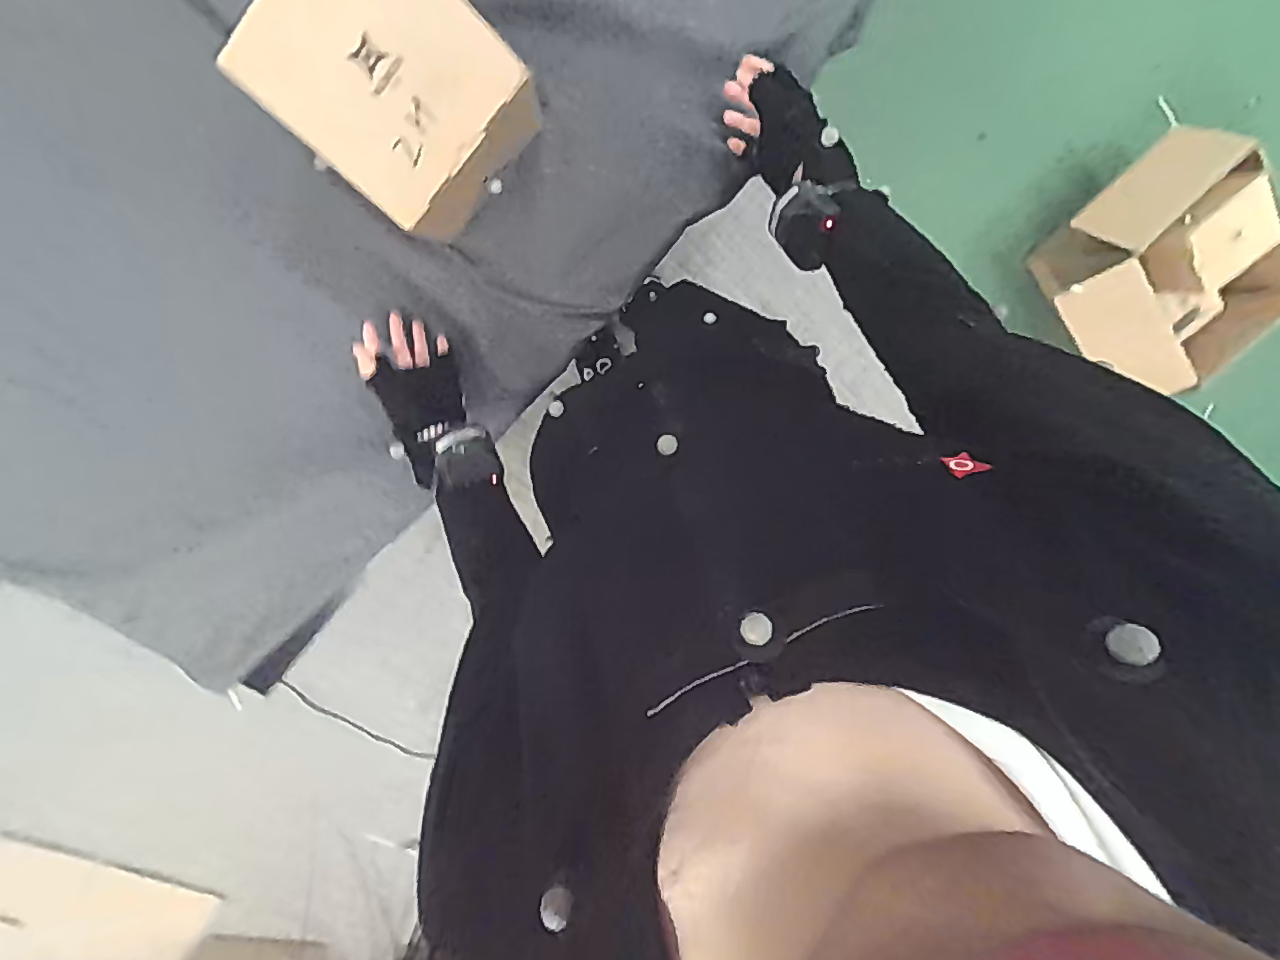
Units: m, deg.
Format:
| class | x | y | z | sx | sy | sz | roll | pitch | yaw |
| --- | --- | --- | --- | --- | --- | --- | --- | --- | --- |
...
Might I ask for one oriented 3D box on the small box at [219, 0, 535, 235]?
| class | x | y | z | sx | sy | sz | roll | pitch | yaw |
| --- | --- | --- | --- | --- | --- | --- | --- | --- | --- |
| small box | -0.216 | -0.351 | 0.499 | 0.179 | 0.176 | 0.168 | 40 | 101 | -19 |
